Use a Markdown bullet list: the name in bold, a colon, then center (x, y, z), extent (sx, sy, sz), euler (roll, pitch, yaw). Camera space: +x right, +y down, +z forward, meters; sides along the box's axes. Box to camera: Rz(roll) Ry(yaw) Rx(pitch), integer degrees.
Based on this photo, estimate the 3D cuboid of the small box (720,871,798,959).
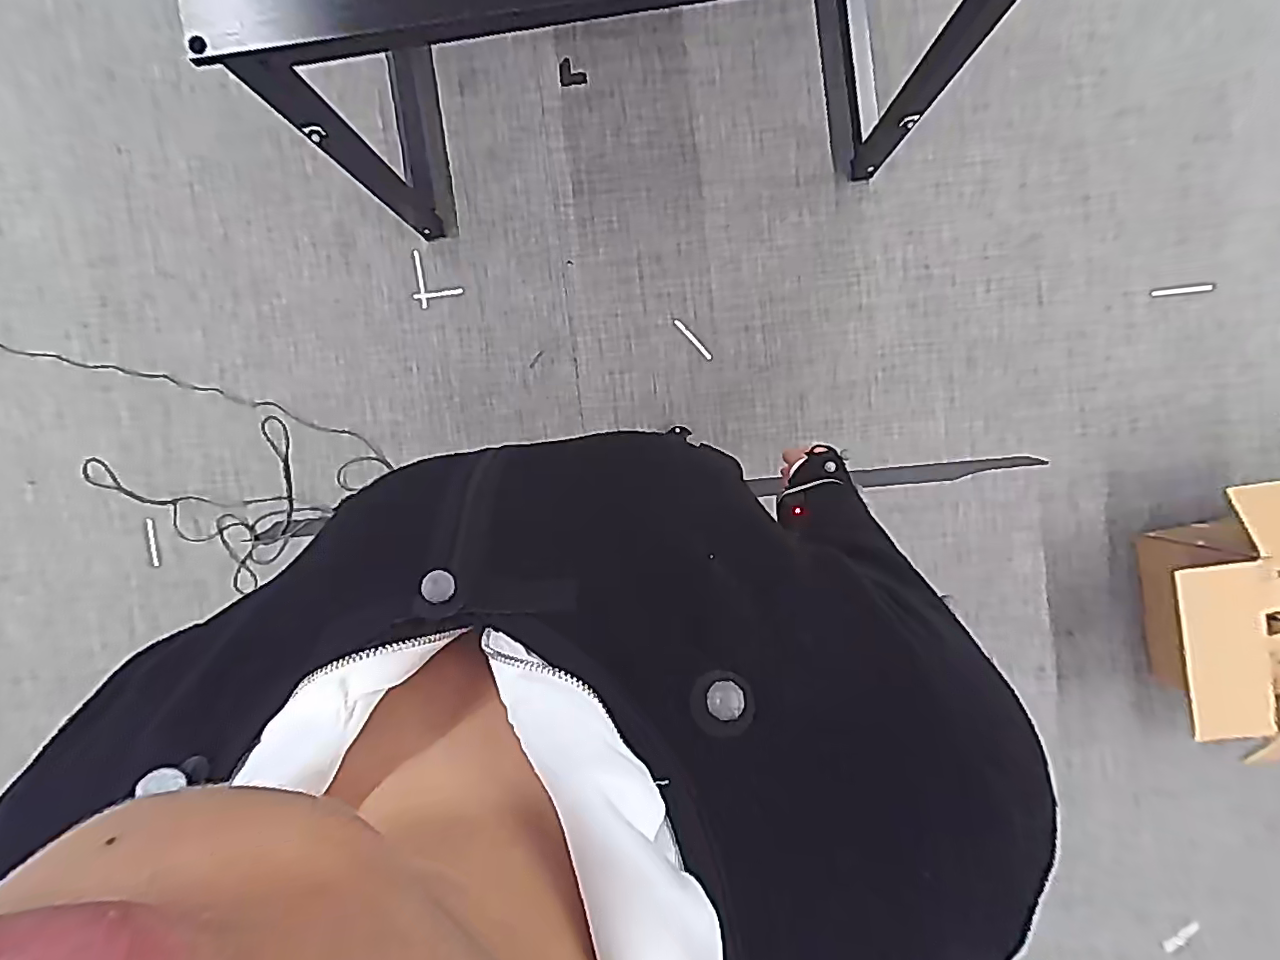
- **small box**: center (0.312, 1.180, 1.440), extent (0.179, 0.176, 0.168), euler (-4, 92, 3)
